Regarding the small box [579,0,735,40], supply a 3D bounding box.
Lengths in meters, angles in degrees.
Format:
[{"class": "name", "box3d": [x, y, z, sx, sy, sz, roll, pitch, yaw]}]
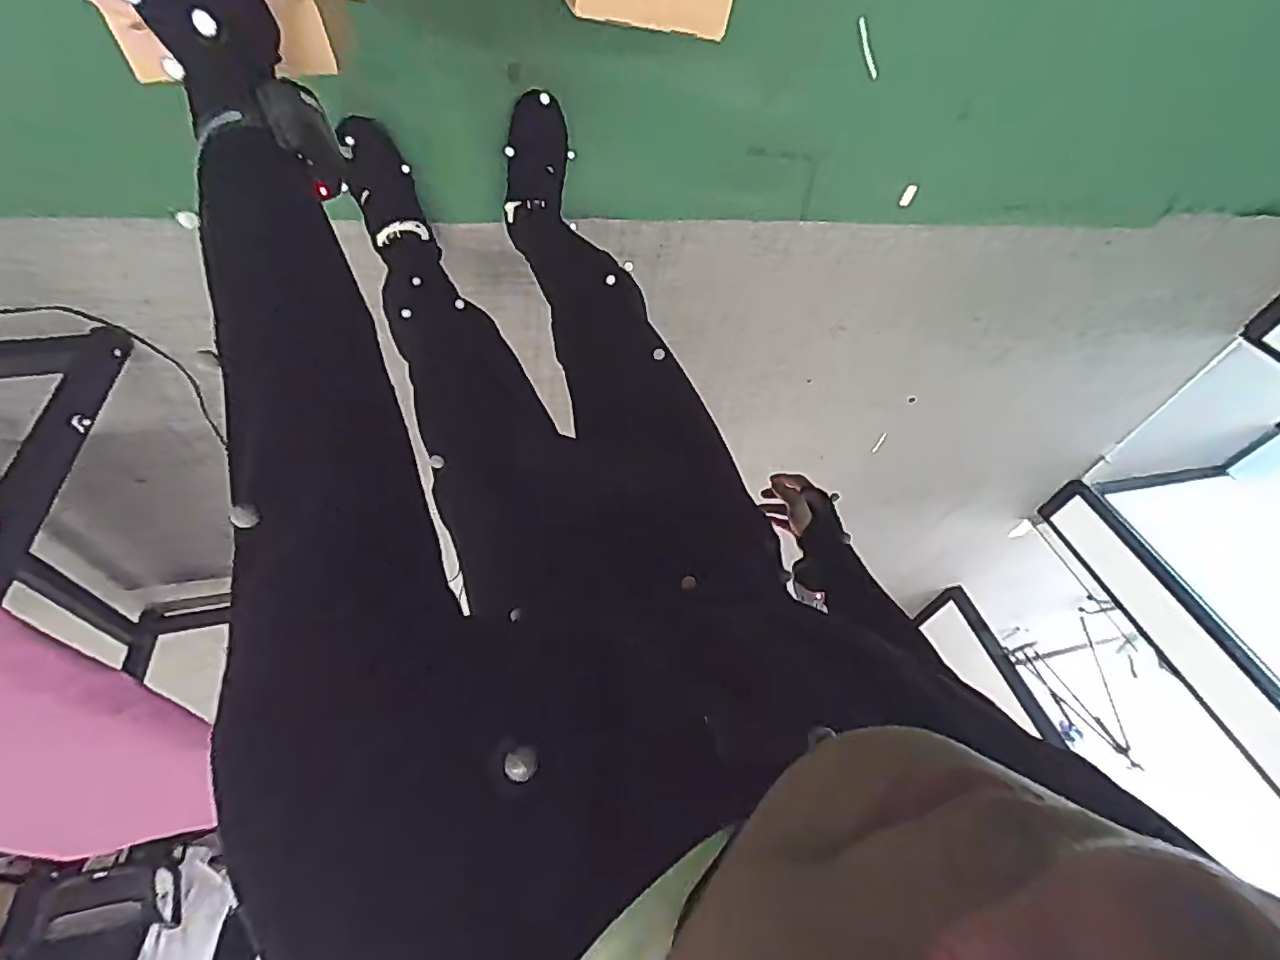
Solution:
[{"class": "small box", "box3d": [0.013, -0.591, 0.550, 0.168, 0.176, 0.179, -4, 142, -16]}]

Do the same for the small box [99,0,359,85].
[{"class": "small box", "box3d": [-0.369, -0.472, 0.475, 0.168, 0.176, 0.179, -9, 137, -9]}]
